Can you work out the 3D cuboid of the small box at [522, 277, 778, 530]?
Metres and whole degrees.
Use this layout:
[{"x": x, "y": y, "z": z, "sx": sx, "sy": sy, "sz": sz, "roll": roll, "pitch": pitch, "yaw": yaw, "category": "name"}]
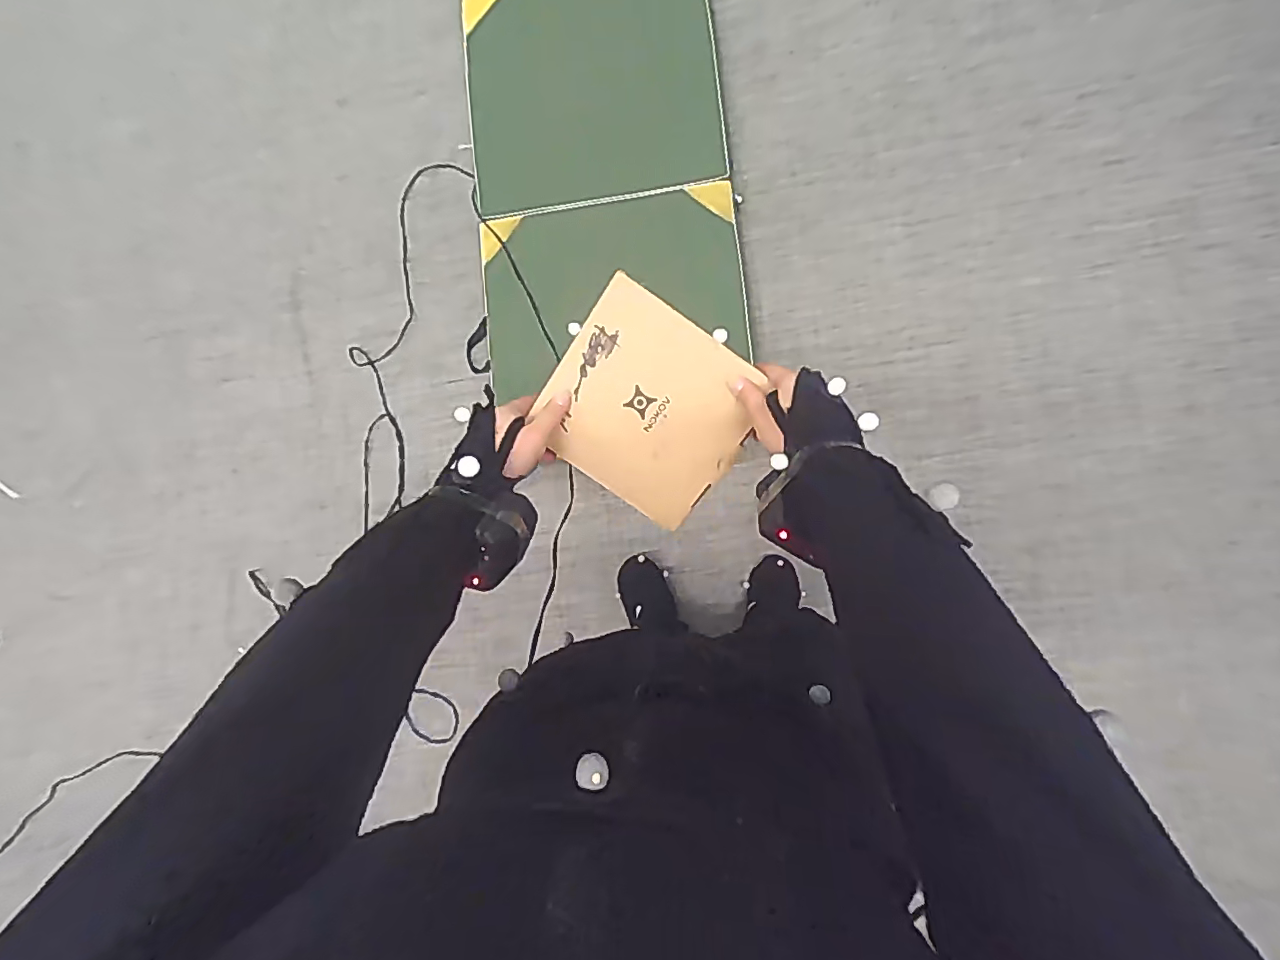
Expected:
[{"x": 0.013, "y": -0.083, "z": 0.560, "sx": 0.179, "sy": 0.176, "sz": 0.168, "roll": 35, "pitch": 104, "yaw": -4, "category": "small box"}]
